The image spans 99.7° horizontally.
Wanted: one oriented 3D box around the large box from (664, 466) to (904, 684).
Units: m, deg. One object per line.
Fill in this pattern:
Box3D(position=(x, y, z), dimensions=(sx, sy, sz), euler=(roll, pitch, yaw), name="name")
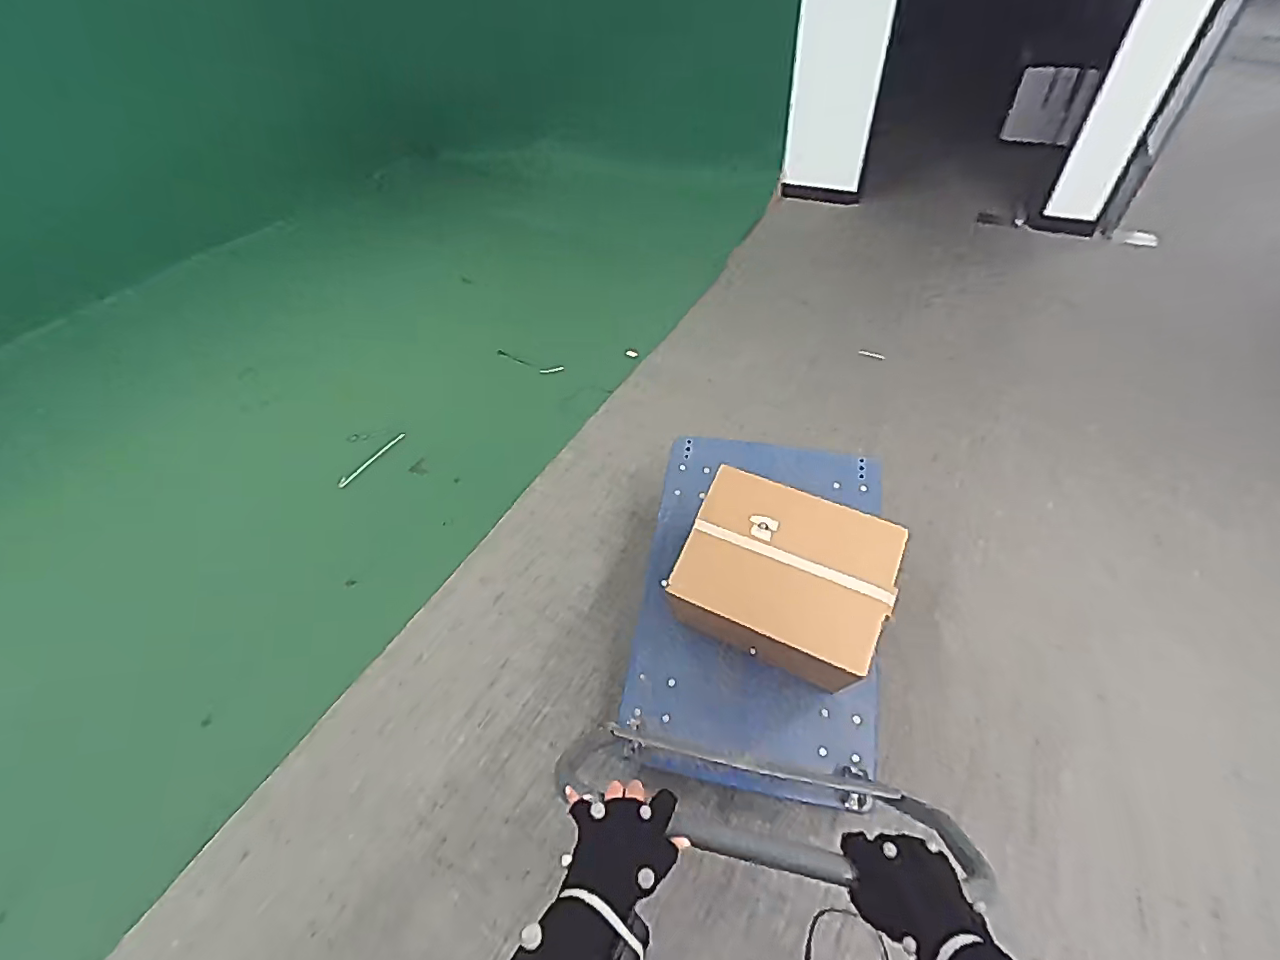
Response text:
Box3D(position=(0.314, 0.222, 1.222), dimensions=(0.408, 0.320, 0.320), euler=(21, 70, 18), name="large box")
